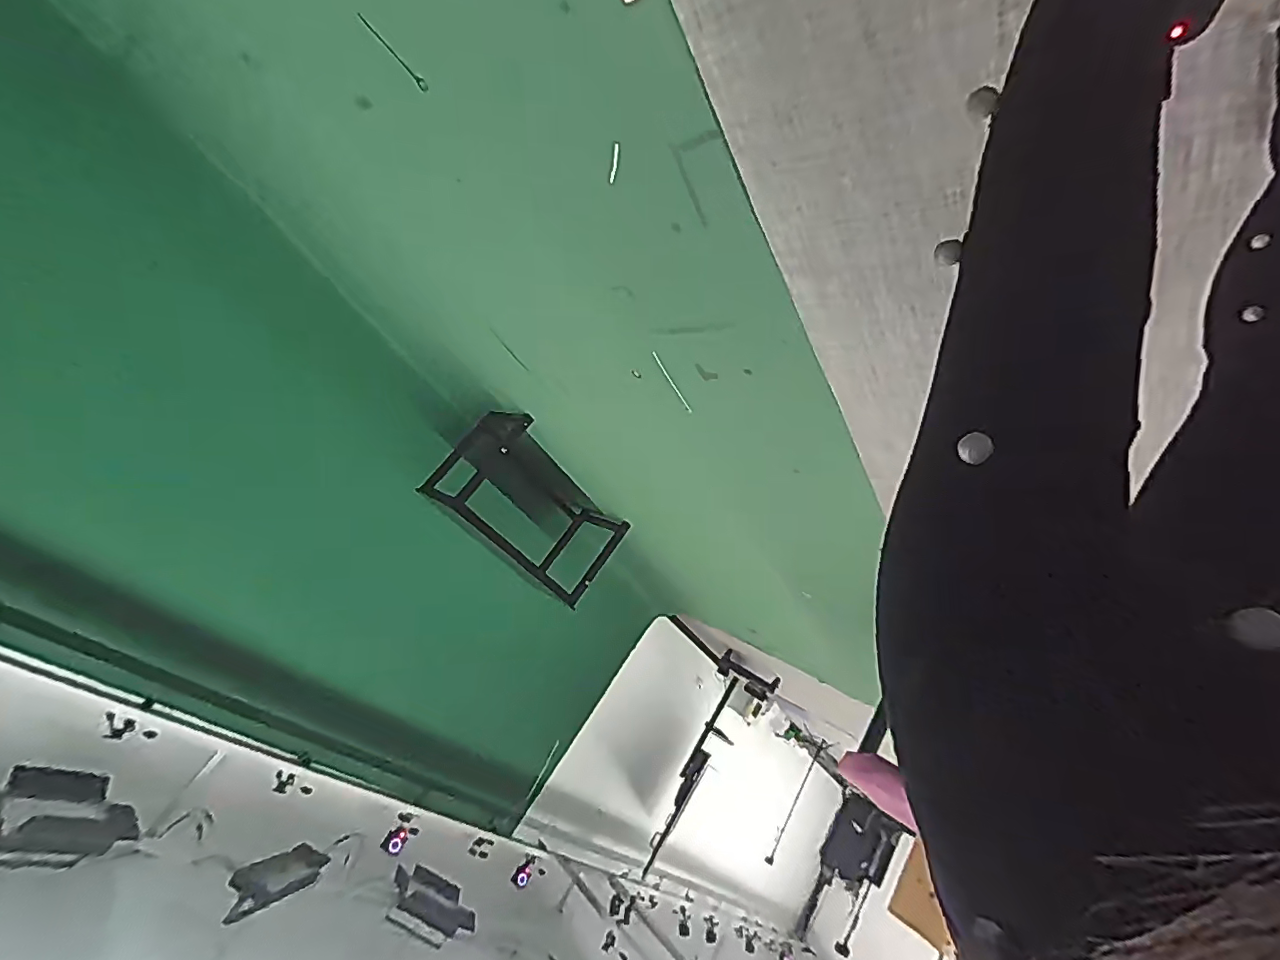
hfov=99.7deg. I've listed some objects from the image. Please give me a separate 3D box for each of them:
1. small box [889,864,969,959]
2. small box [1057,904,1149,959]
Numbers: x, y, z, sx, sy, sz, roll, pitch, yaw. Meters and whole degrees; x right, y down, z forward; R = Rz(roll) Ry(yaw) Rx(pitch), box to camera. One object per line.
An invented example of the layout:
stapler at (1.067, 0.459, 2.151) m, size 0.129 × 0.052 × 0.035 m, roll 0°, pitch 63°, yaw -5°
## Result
small box at (0.930, 1.376, 1.731) m, size 0.168 × 0.176 × 0.179 m, roll 13°, pitch 151°, yaw 48°
small box at (1.291, 1.334, 1.507) m, size 0.168 × 0.176 × 0.179 m, roll 13°, pitch 151°, yaw 48°
